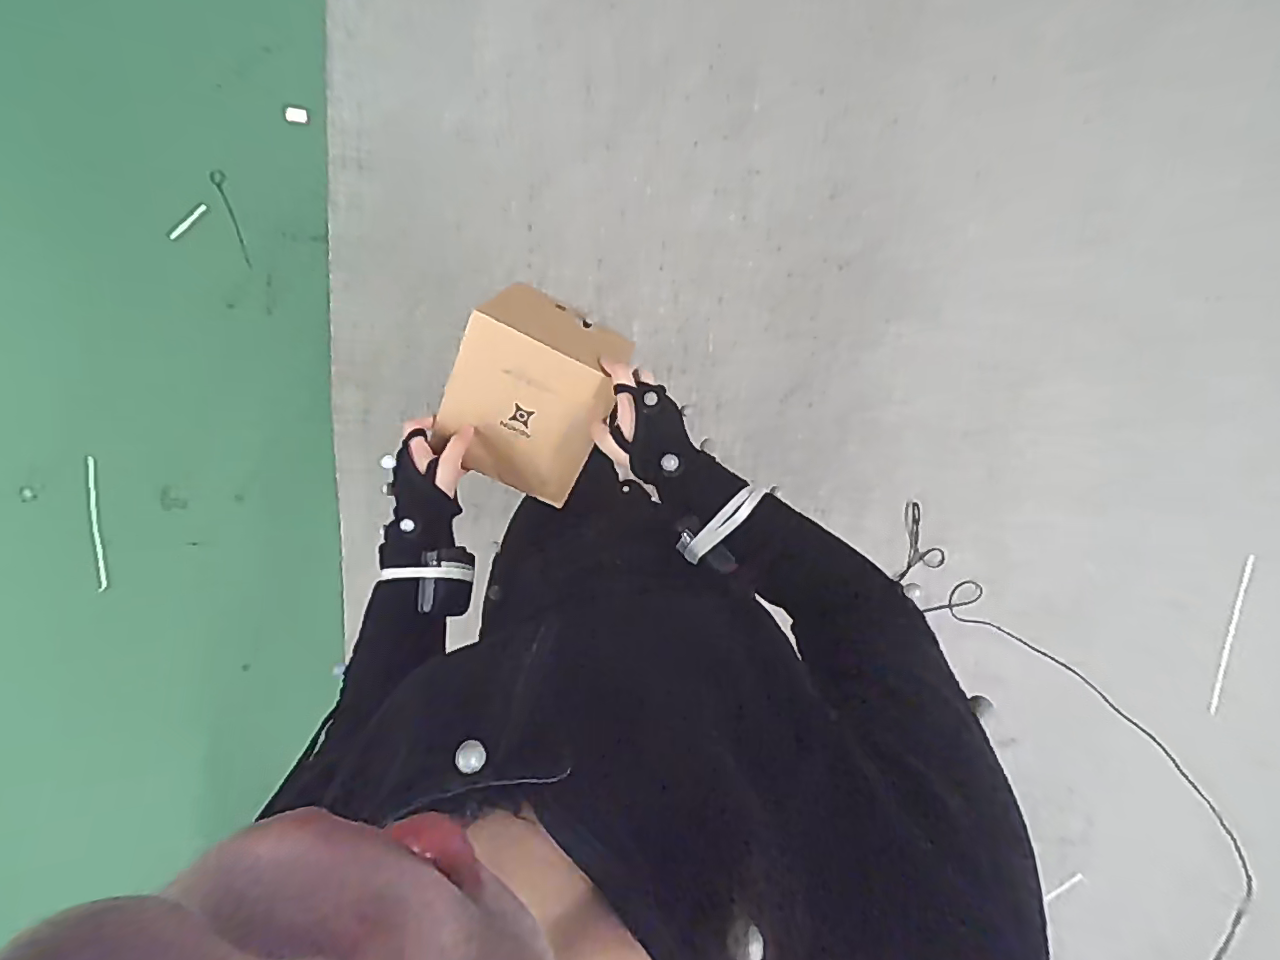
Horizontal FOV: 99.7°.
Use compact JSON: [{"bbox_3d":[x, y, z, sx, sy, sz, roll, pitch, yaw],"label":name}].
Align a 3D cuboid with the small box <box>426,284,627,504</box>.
[{"bbox_3d":[-0.126,-0.109,0.655,0.168,0.176,0.179,27,118,-10],"label":"small box"}]
